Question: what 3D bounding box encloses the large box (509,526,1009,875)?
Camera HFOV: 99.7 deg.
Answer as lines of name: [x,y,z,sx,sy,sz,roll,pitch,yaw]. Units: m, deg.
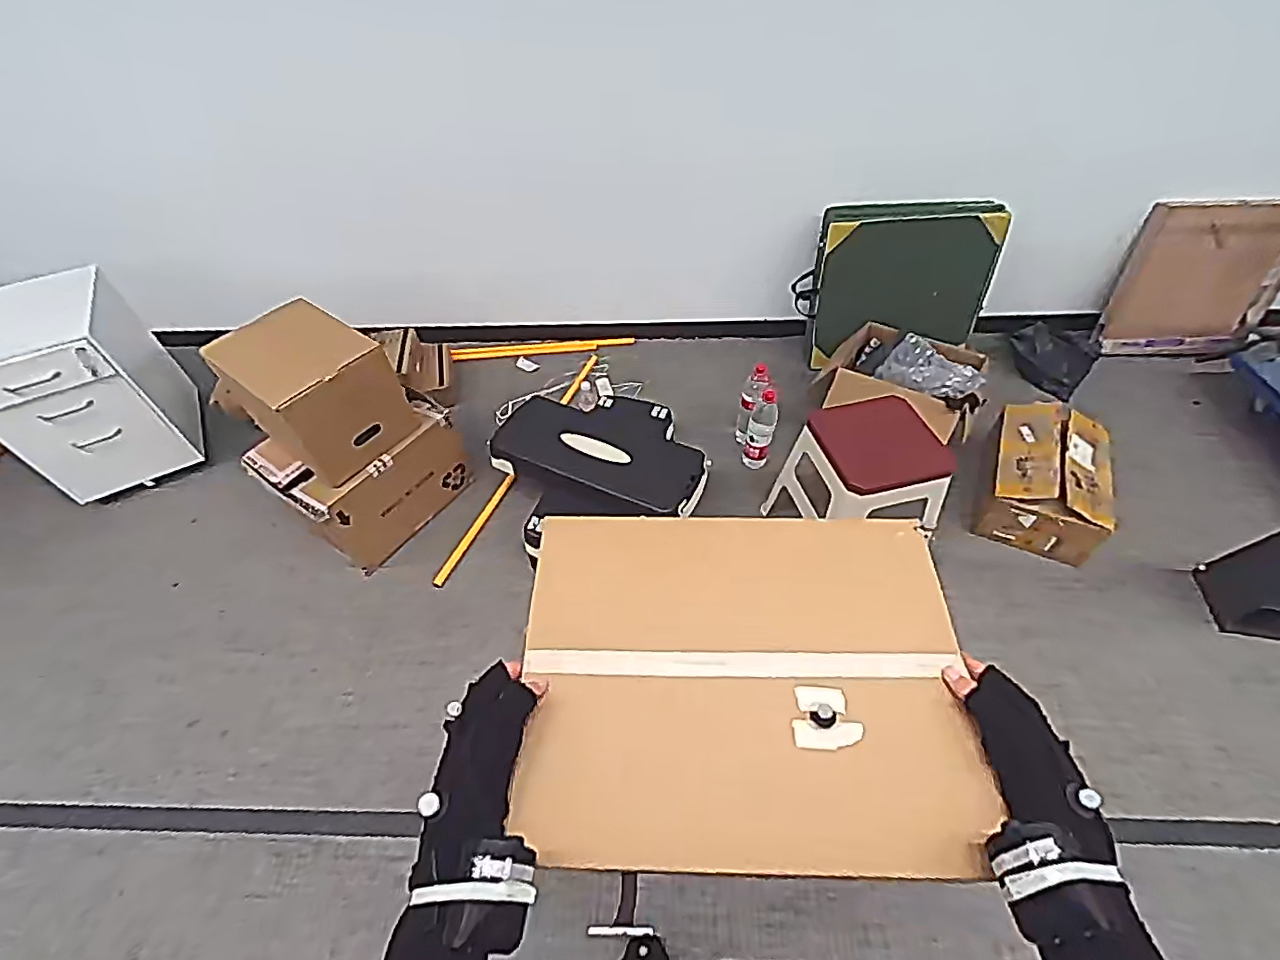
large box: [0.095,0.262,0.630,0.408,0.320,0.320,0,56,2]
